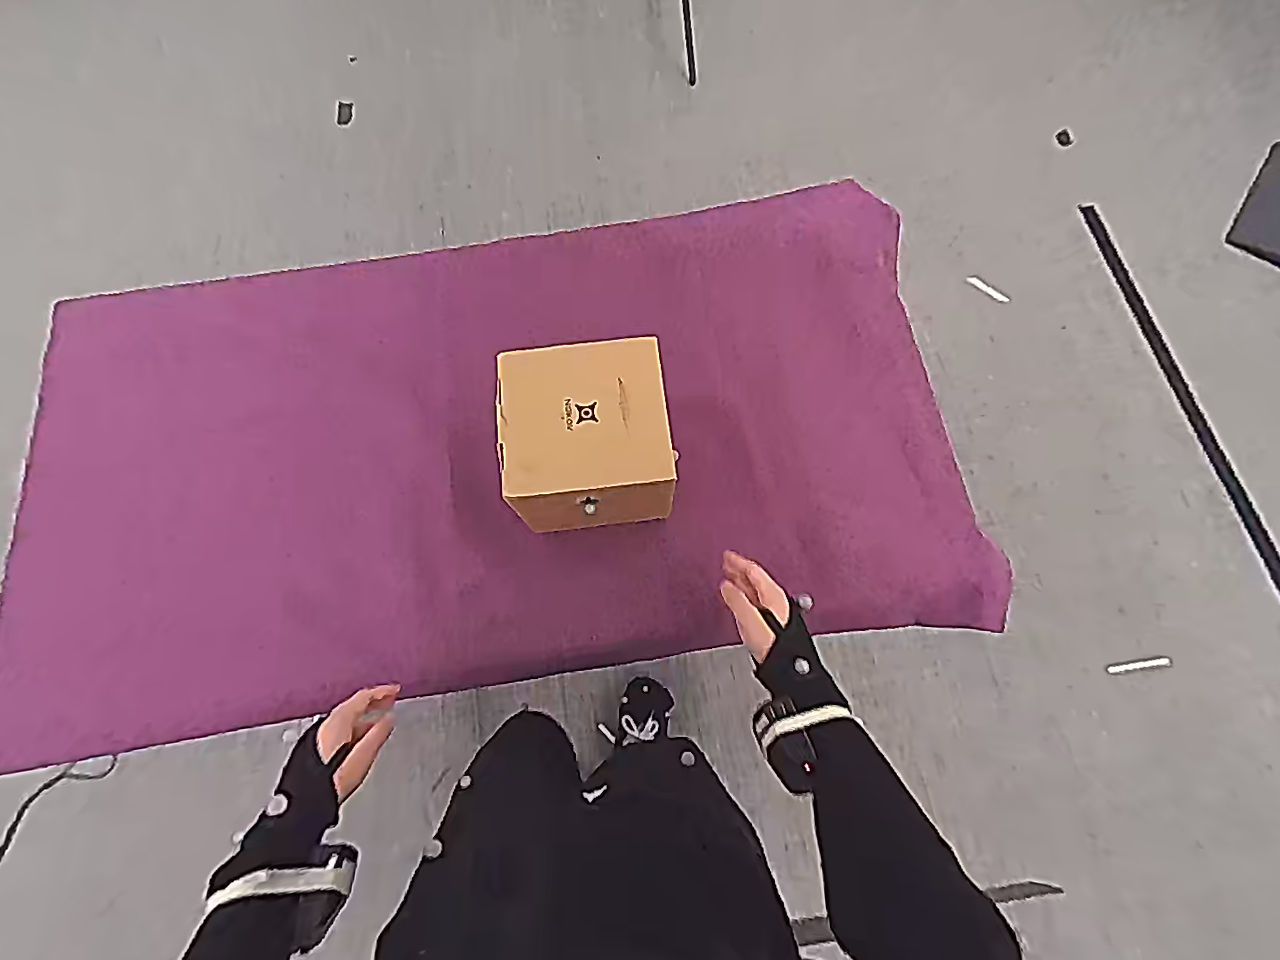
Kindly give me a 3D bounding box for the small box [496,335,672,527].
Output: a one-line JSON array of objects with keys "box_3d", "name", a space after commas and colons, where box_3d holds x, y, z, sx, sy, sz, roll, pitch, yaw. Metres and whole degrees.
[{"box_3d": [-0.060, -0.047, 0.637, 0.179, 0.176, 0.168, -7, 73, -2], "name": "small box"}]
